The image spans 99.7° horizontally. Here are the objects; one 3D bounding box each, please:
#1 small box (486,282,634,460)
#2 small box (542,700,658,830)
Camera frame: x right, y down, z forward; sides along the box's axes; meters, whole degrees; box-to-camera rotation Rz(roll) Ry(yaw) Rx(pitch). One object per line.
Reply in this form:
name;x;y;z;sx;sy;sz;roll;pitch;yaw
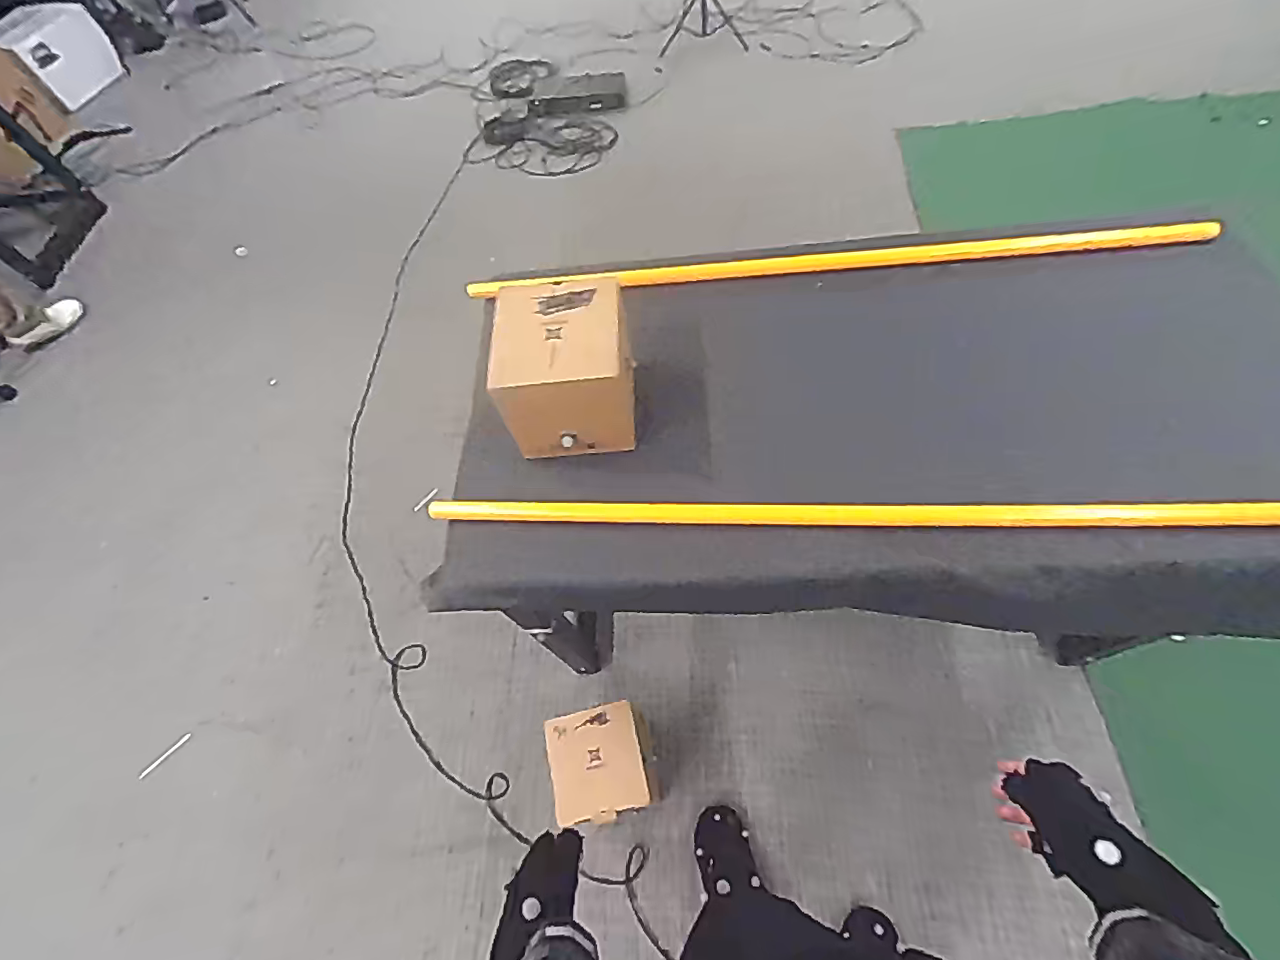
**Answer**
small box;-0.101;-0.149;0.766;0.168;0.176;0.179;-5;60;5
small box;-0.072;0.539;1.030;0.168;0.176;0.179;-18;59;0
